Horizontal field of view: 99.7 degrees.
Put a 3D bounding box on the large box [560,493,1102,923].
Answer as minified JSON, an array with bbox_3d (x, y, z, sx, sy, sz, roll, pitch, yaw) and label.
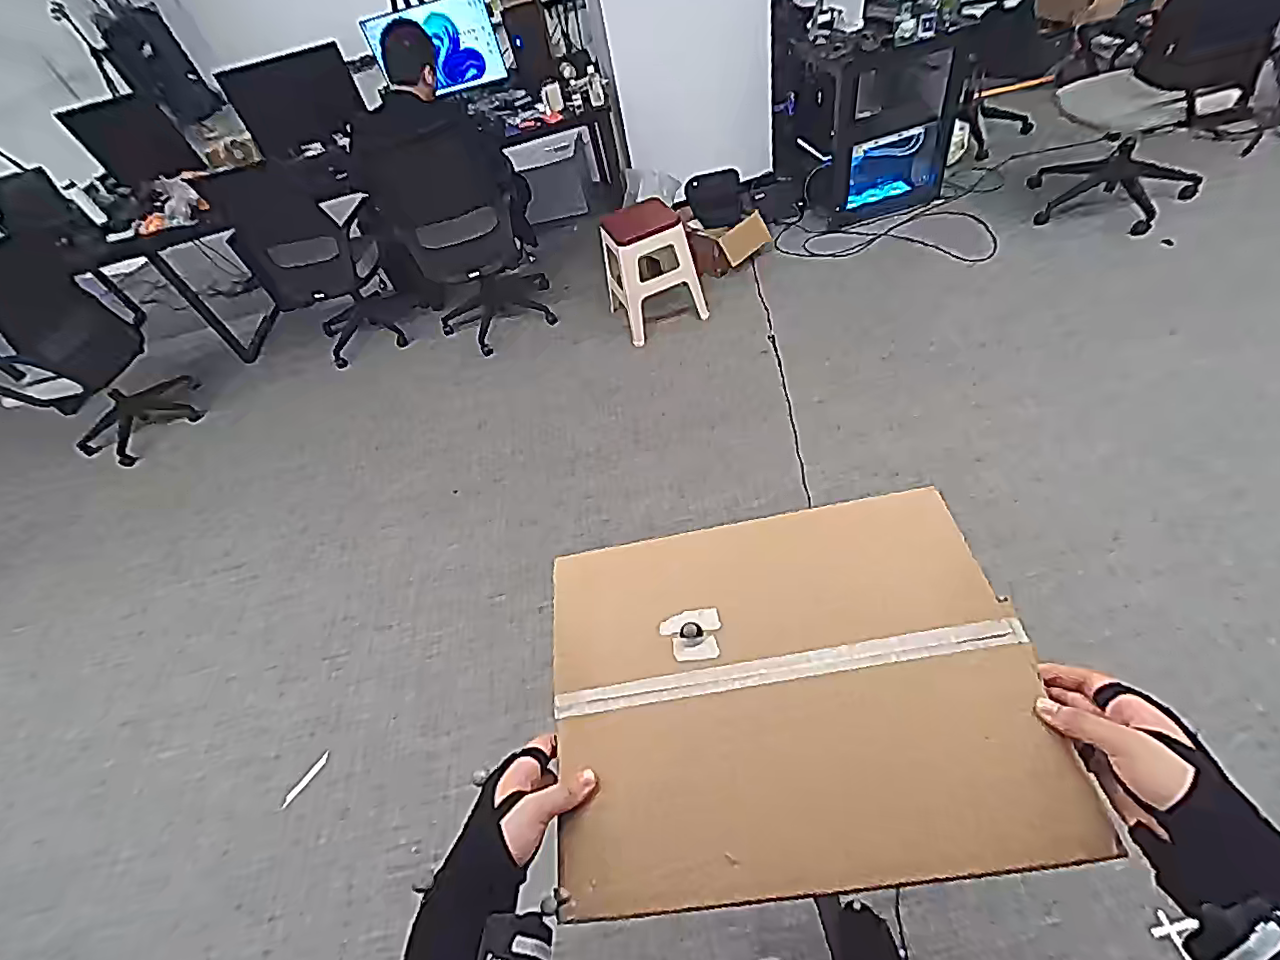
[{"bbox_3d":[0.155,0.262,0.607,0.408,0.320,0.320,-13,51,7],"label":"large box"}]
